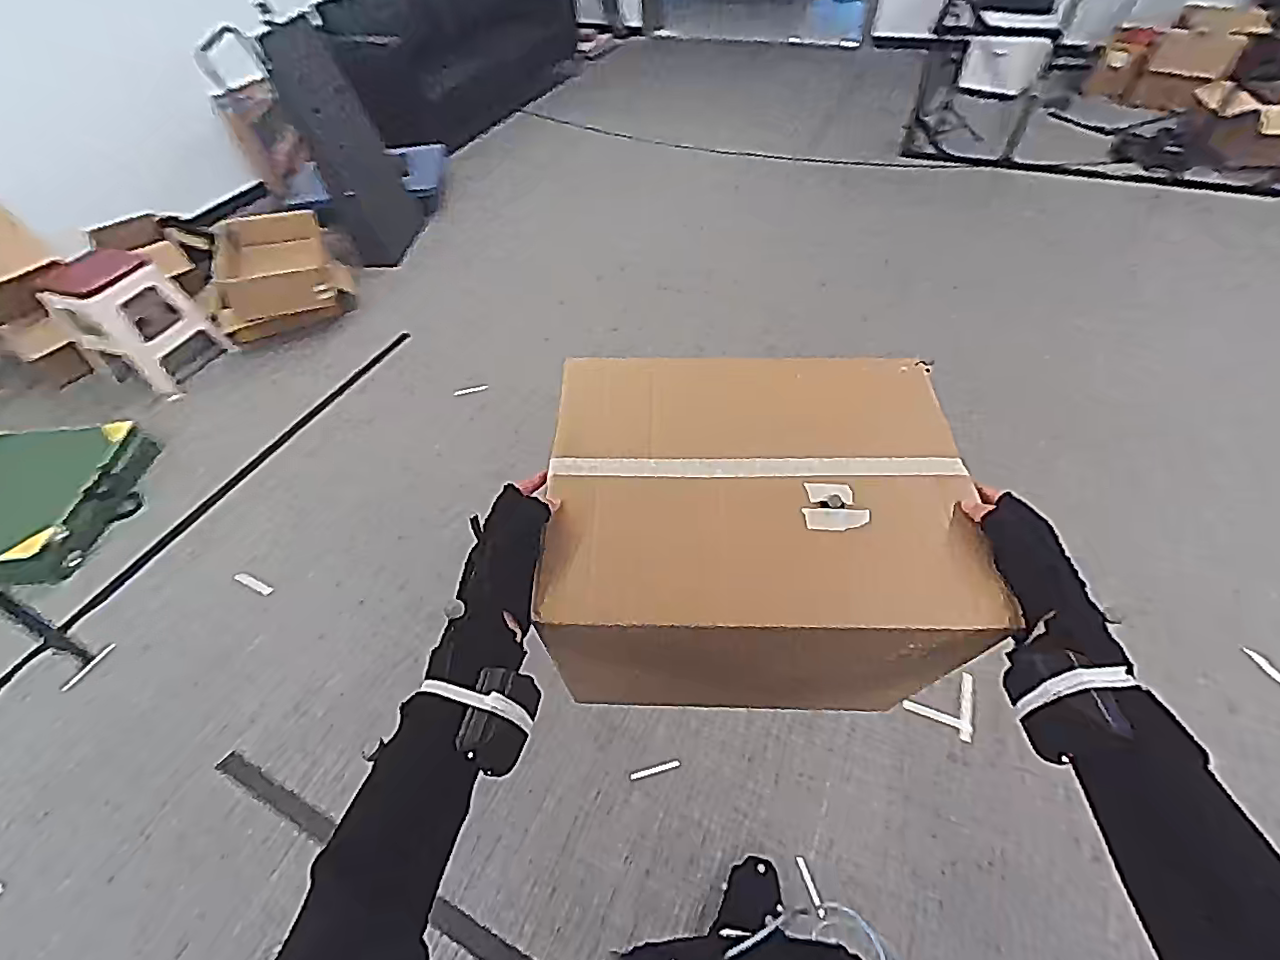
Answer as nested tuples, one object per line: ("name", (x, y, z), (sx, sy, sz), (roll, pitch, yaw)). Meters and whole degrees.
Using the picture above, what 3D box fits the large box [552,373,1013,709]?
("large box", (0.125, 0.086, 0.668), (0.408, 0.320, 0.320), (1, 56, 2))
